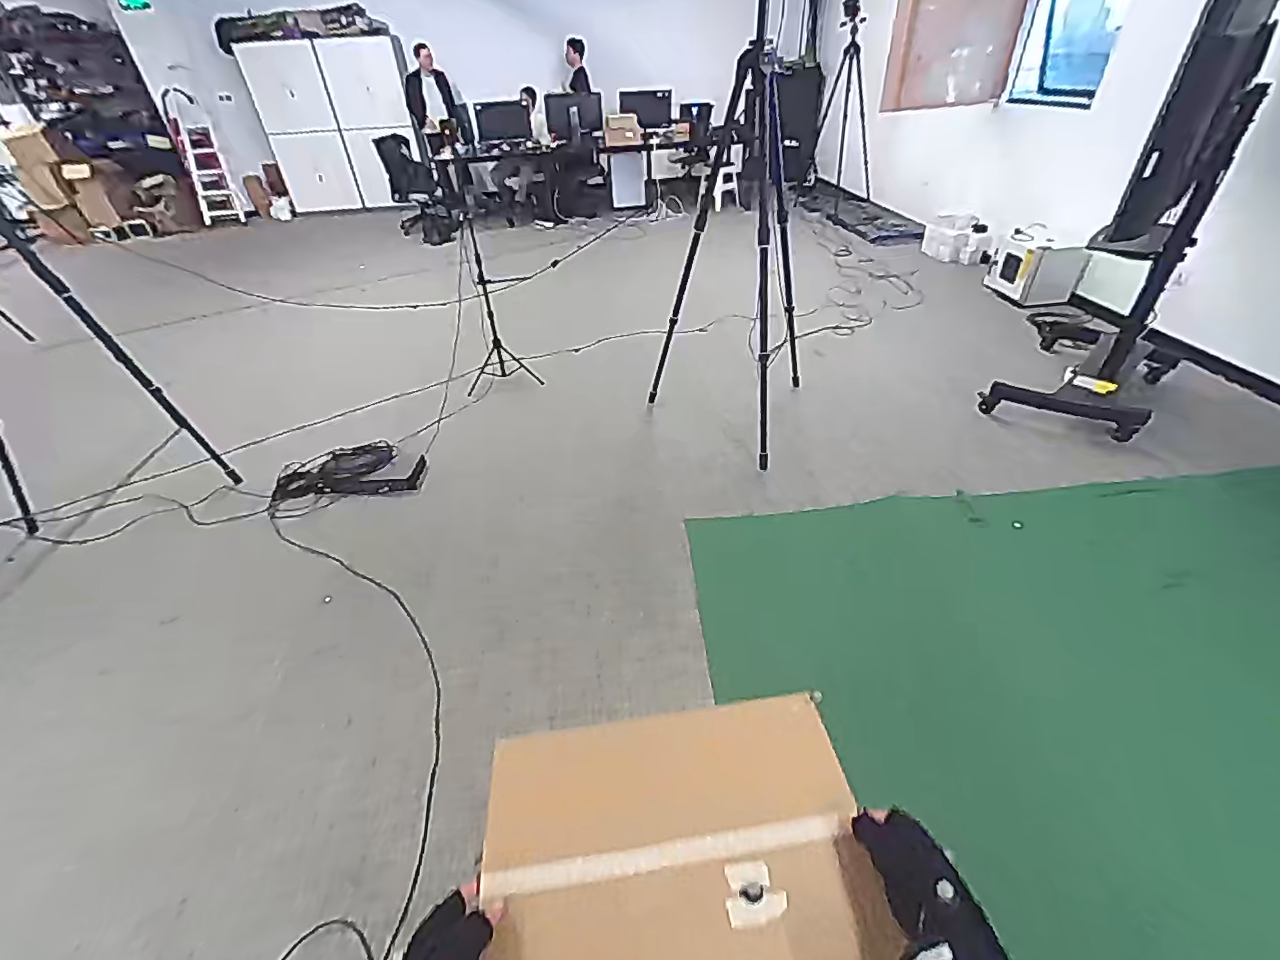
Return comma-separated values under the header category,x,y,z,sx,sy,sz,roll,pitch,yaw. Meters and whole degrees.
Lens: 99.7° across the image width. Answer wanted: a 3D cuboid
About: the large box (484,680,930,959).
category,x,y,z,sx,sy,sz,roll,pitch,yaw
large box,0.049,0.495,0.655,0.408,0.320,0.320,-7,36,-4
